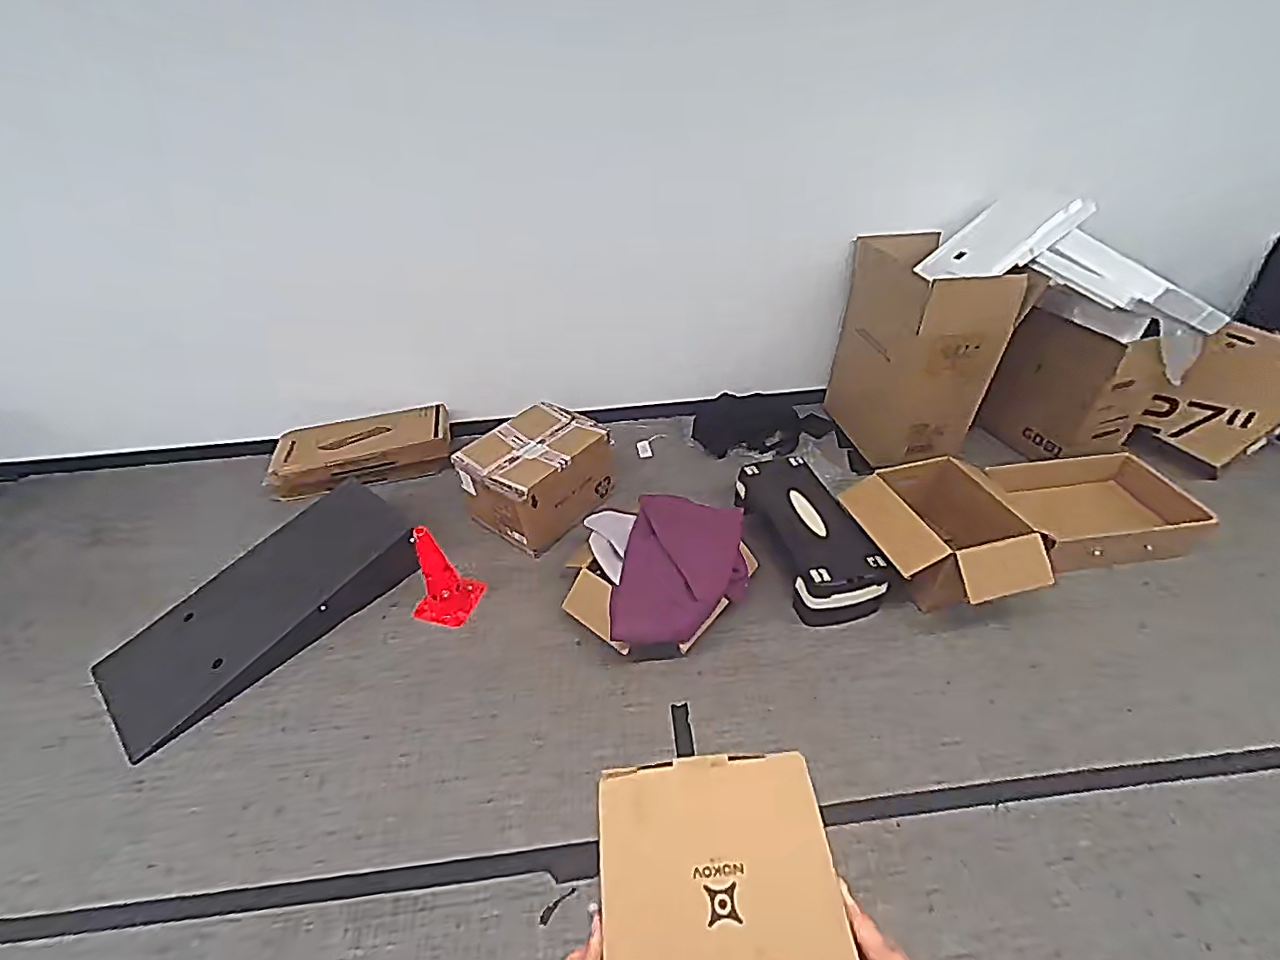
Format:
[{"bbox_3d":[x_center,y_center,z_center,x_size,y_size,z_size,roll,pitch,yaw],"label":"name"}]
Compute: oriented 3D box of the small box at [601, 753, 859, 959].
[{"bbox_3d":[0.057,0.338,0.423,0.168,0.176,0.179,-5,47,-2],"label":"small box"}]
